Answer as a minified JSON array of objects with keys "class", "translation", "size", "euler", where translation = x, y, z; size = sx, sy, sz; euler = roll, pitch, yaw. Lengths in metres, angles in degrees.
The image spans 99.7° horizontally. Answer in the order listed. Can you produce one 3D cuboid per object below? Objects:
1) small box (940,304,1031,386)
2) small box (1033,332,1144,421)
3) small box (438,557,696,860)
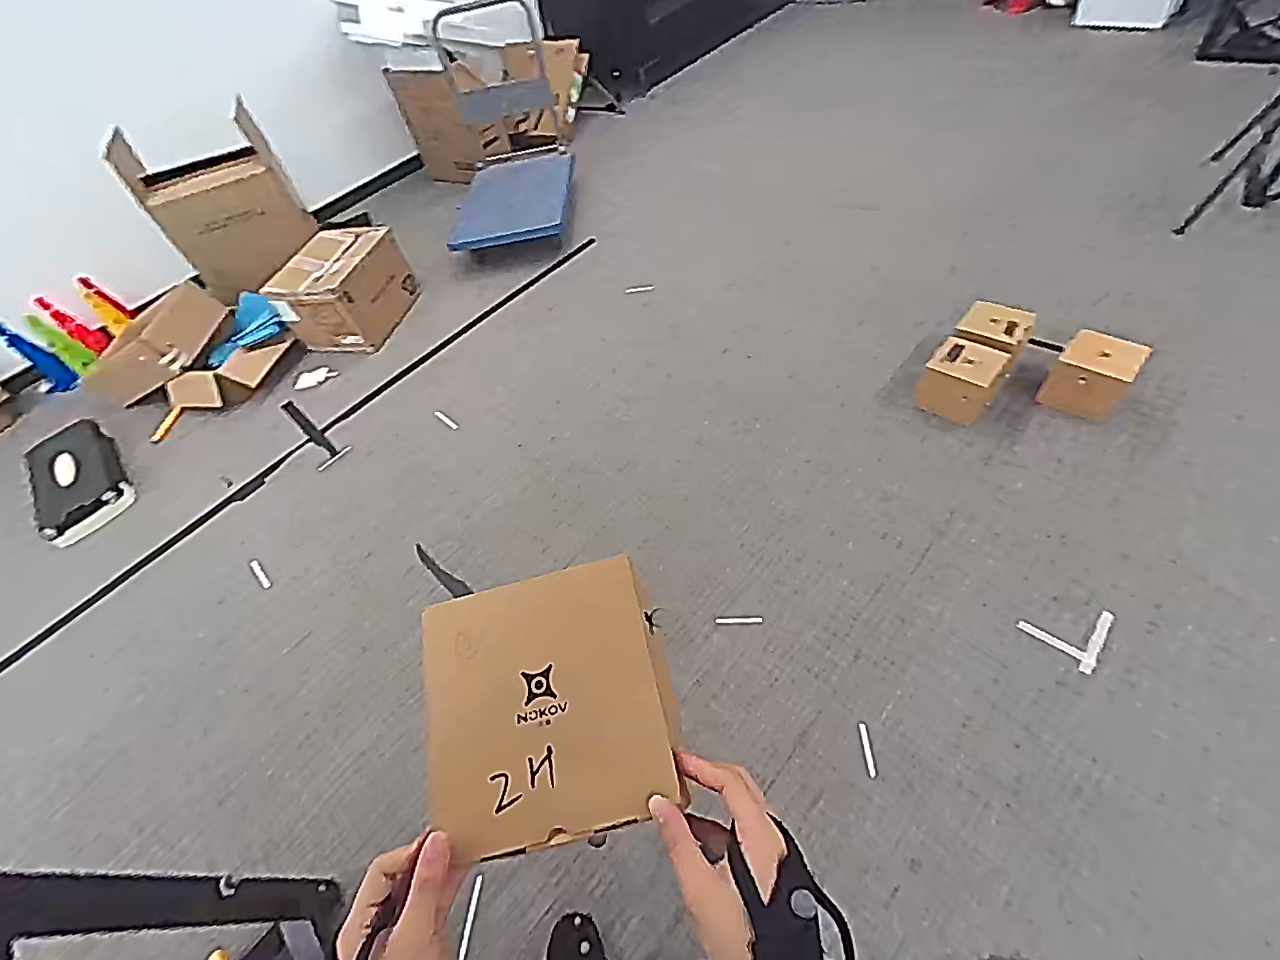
[{"class":"small box","translation":[1.101,-0.428,1.734],"size":[0.179,0.176,0.168],"euler":[32,66,32]},{"class":"small box","translation":[1.306,-0.298,1.585],"size":[0.179,0.176,0.168],"euler":[33,66,33]},{"class":"small box","translation":[-0.054,0.189,0.455],"size":[0.168,0.176,0.179],"euler":[-15,62,2]}]
